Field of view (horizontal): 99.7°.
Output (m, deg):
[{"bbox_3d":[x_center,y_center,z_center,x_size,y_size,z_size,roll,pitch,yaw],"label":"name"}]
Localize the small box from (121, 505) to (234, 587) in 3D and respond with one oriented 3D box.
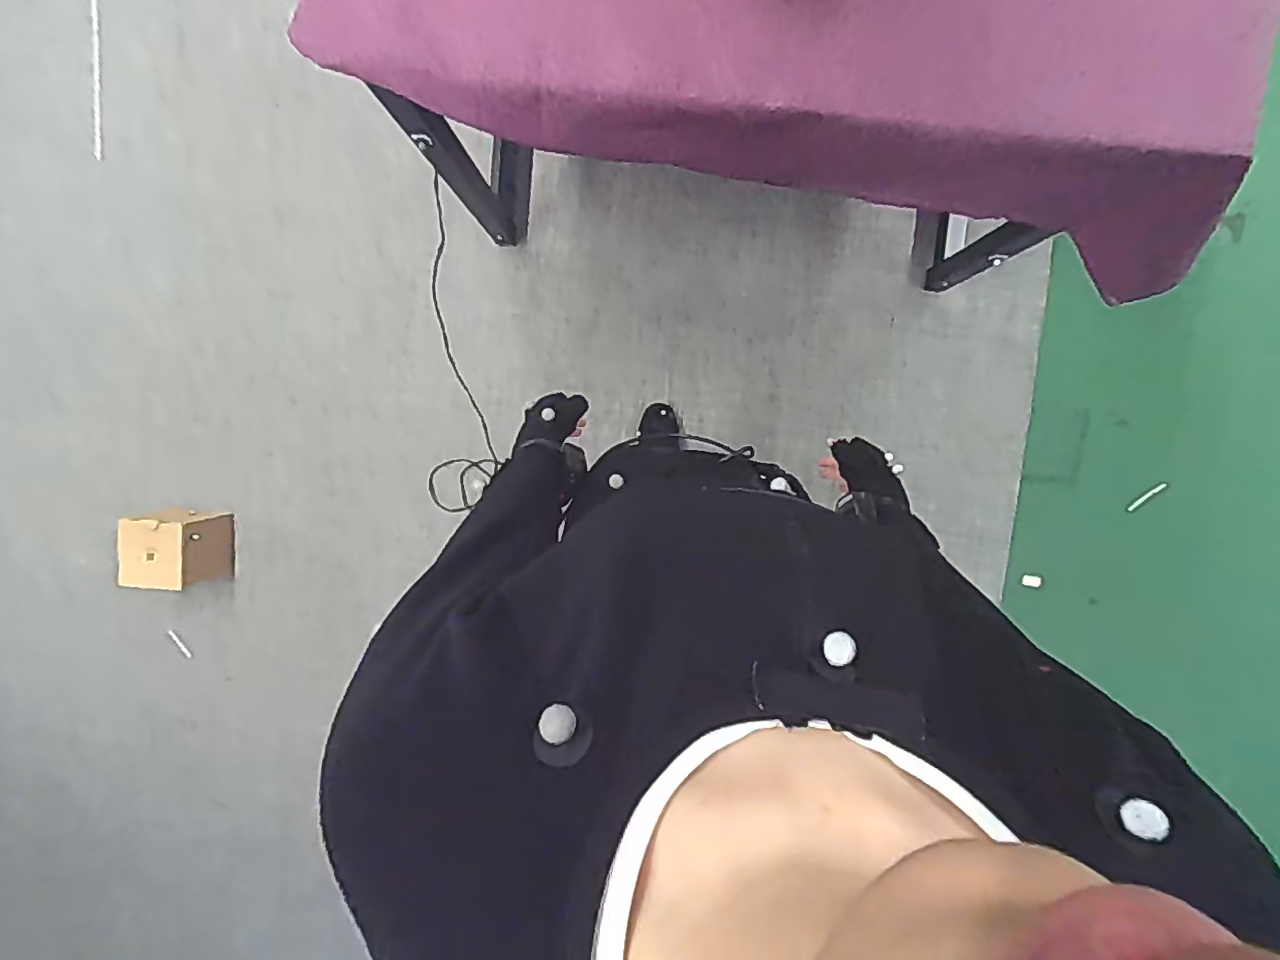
[{"bbox_3d":[-1.217,0.169,1.433,0.168,0.176,0.179,4,95,1],"label":"small box"}]
